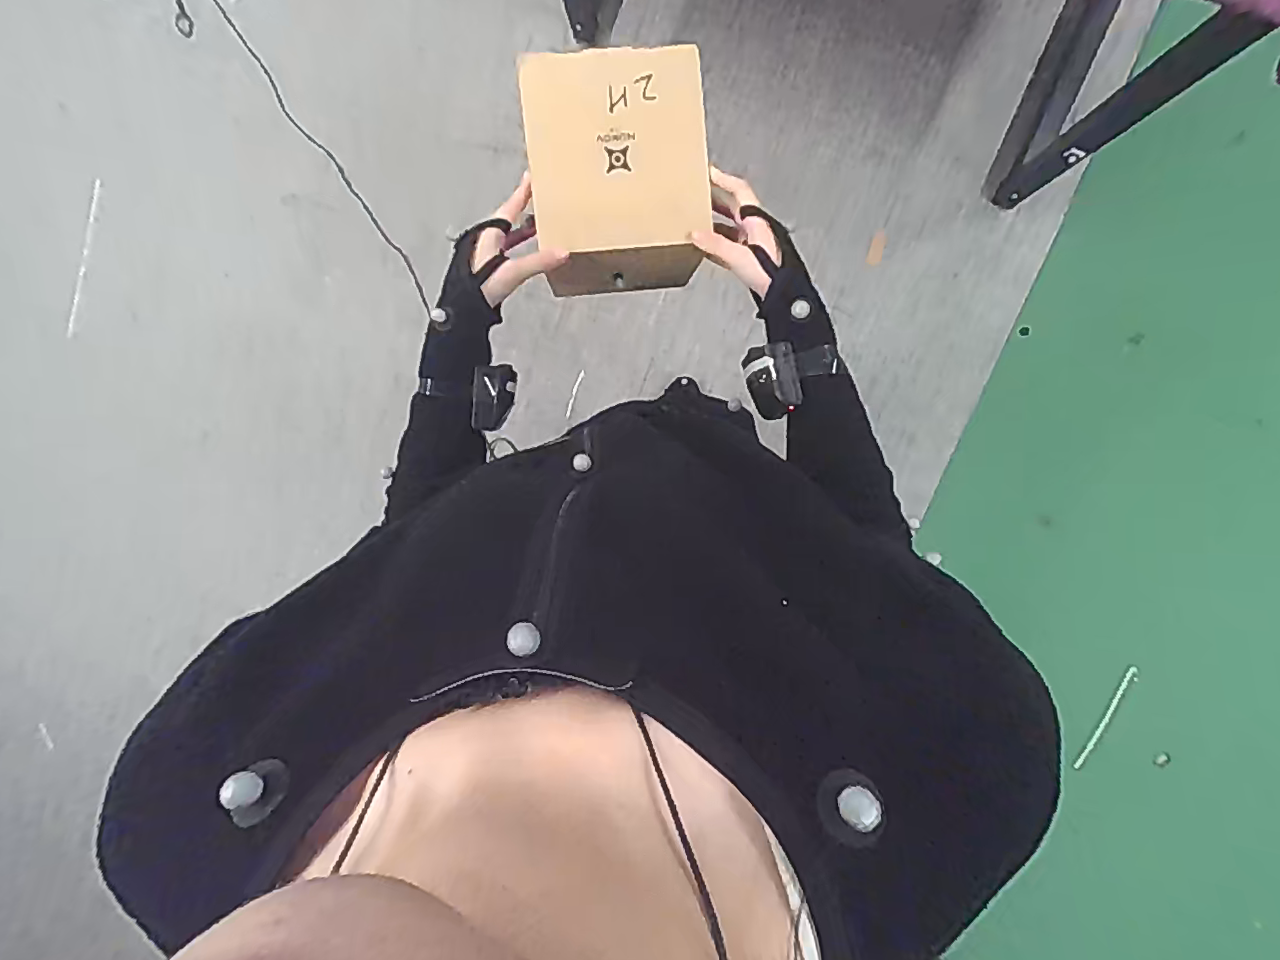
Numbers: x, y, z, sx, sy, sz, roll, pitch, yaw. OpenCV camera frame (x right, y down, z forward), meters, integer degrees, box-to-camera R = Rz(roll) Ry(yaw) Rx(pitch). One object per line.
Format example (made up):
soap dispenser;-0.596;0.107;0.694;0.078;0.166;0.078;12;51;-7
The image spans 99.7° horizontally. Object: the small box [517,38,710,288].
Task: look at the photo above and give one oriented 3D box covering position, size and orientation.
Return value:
small box;-0.026;-0.308;0.564;0.168;0.176;0.179;-5;95;-4
